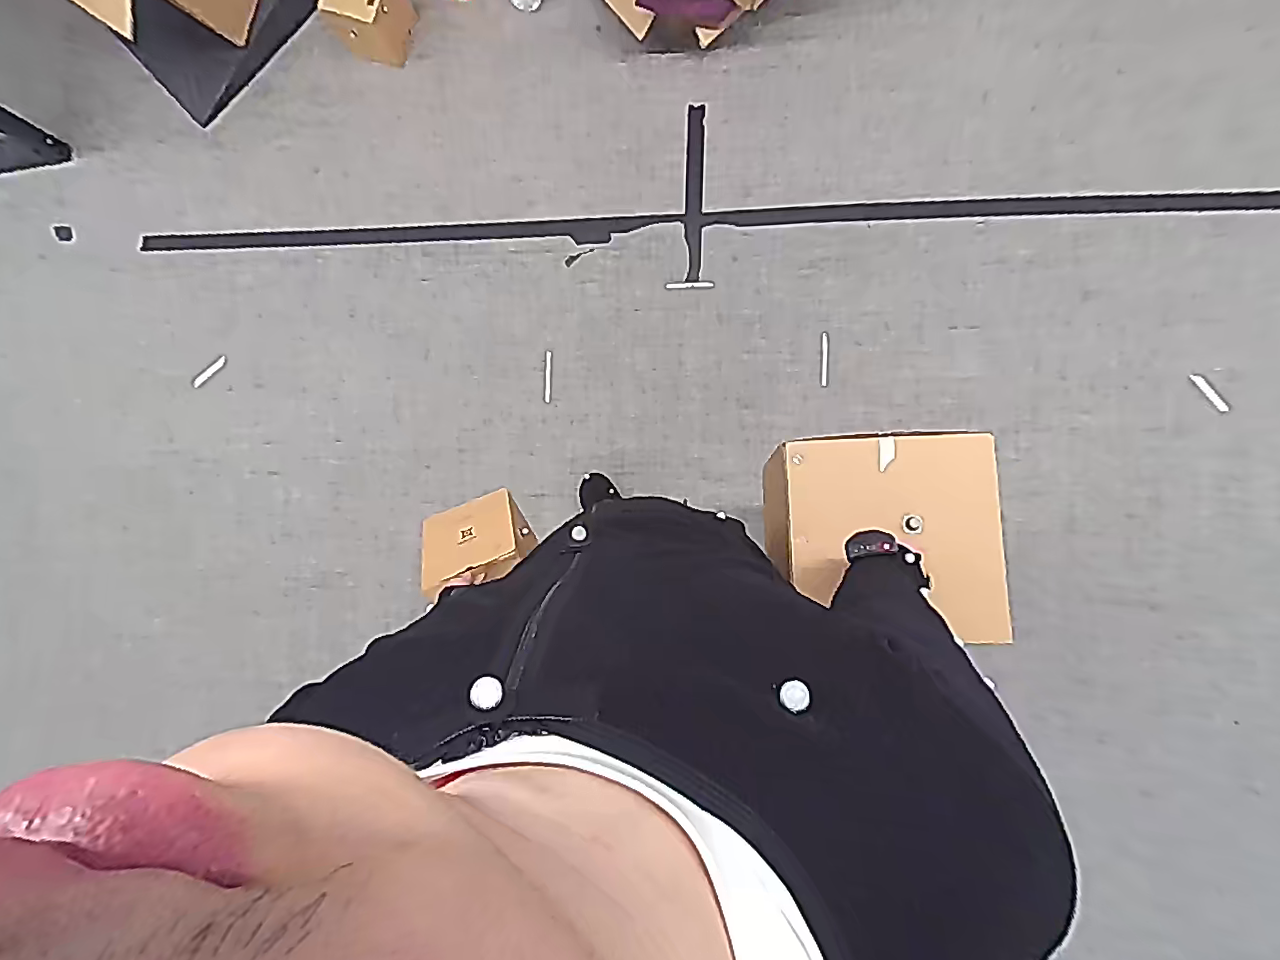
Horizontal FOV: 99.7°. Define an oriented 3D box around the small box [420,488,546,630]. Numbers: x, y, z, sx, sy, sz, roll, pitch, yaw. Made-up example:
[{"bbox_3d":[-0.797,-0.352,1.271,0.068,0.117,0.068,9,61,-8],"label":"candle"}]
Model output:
[{"bbox_3d":[-0.285,0.152,0.996,0.168,0.179,0.176,-21,131,-4],"label":"small box"}]
